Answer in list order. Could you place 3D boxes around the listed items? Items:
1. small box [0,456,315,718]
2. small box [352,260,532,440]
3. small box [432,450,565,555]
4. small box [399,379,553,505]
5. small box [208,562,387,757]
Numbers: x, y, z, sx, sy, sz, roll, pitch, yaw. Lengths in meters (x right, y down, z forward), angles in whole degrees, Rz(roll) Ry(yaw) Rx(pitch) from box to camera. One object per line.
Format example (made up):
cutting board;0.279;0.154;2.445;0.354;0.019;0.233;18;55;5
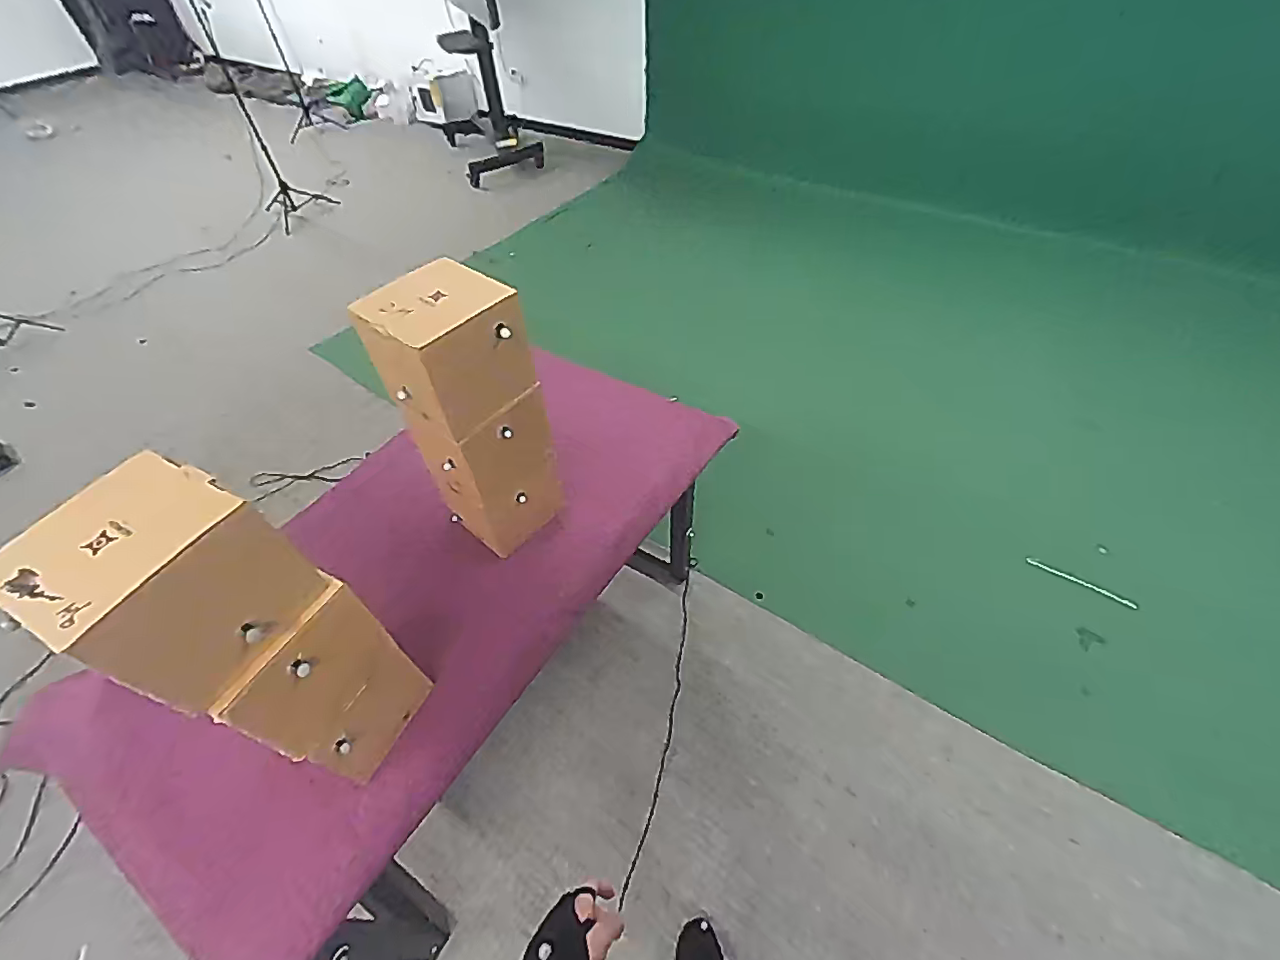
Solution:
small box;-0.481;0.111;0.565;0.168;0.176;0.179;20;54;20
small box;-0.280;-0.194;0.811;0.168;0.176;0.179;31;58;25
small box;-0.267;0.015;1.063;0.168;0.176;0.179;33;58;26
small box;-0.271;-0.088;0.937;0.168;0.176;0.179;32;58;25
small box;-0.455;0.216;0.689;0.168;0.176;0.179;19;54;19
